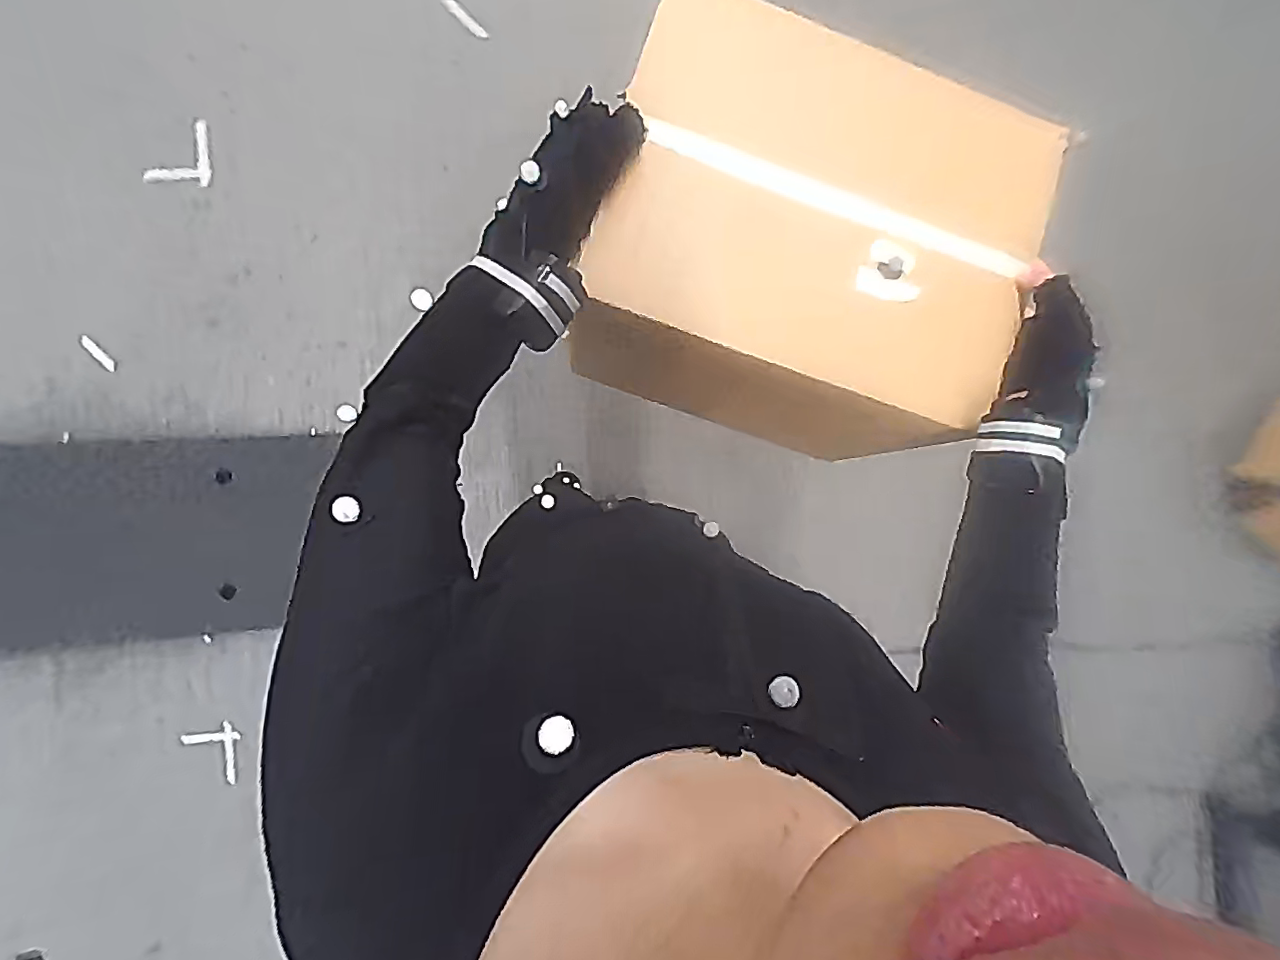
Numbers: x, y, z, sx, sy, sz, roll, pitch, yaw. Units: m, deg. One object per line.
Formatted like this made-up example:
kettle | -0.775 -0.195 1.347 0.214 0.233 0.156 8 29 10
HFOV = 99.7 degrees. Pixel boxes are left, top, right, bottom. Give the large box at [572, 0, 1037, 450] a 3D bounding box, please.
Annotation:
large box | 0.148 -0.250 0.652 0.408 0.320 0.320 17 86 -6

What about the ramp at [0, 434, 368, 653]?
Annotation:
ramp | -1.215 0.138 1.313 0.991 0.206 0.509 -5 87 -5
